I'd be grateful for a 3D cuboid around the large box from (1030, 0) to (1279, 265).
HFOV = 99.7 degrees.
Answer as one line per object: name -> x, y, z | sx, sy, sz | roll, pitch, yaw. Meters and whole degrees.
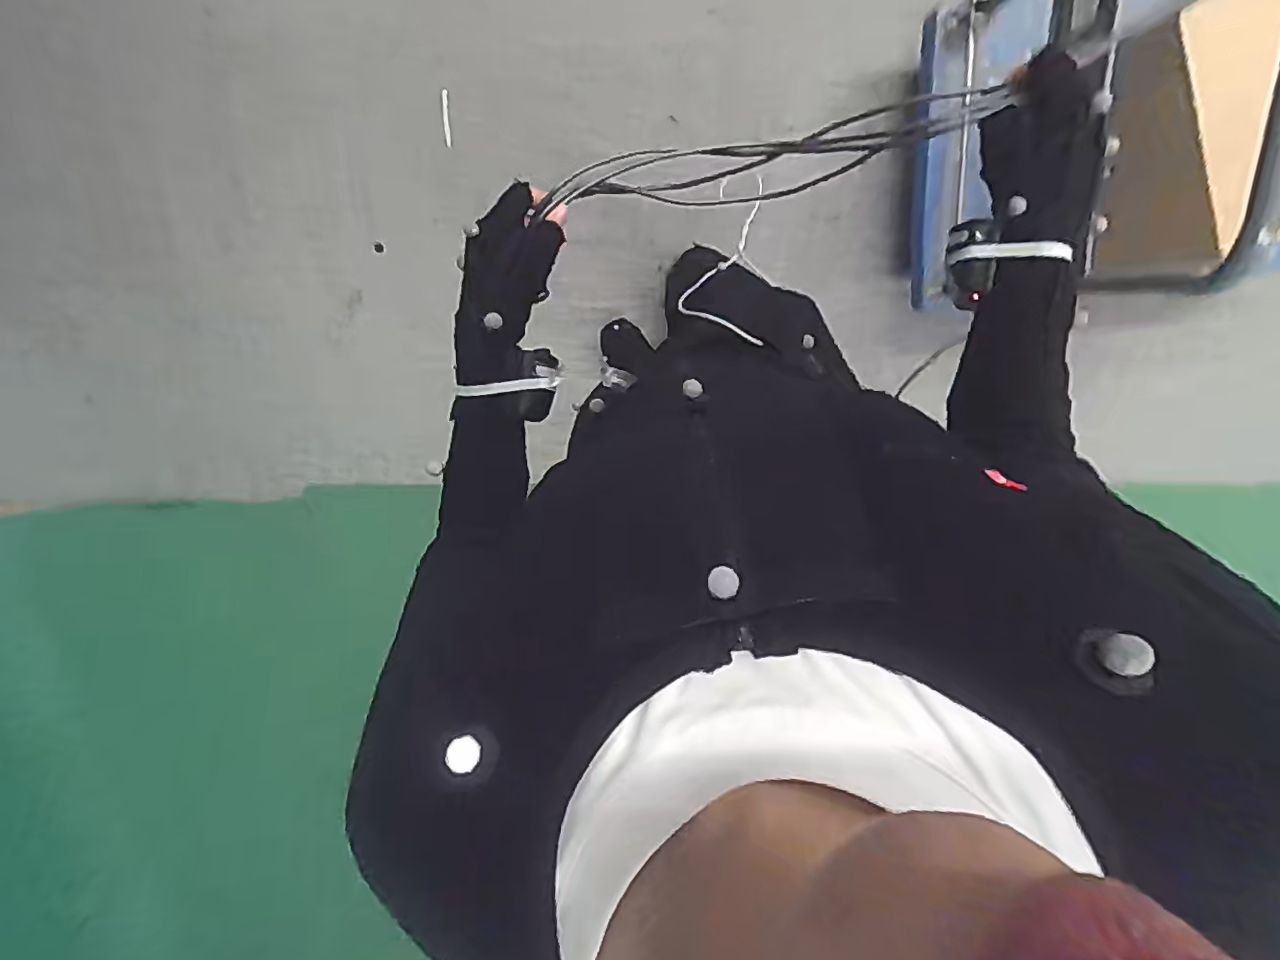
large box -> 1.003, -0.656, 0.971 | 0.320, 0.320, 0.408 | -28, 106, 7
